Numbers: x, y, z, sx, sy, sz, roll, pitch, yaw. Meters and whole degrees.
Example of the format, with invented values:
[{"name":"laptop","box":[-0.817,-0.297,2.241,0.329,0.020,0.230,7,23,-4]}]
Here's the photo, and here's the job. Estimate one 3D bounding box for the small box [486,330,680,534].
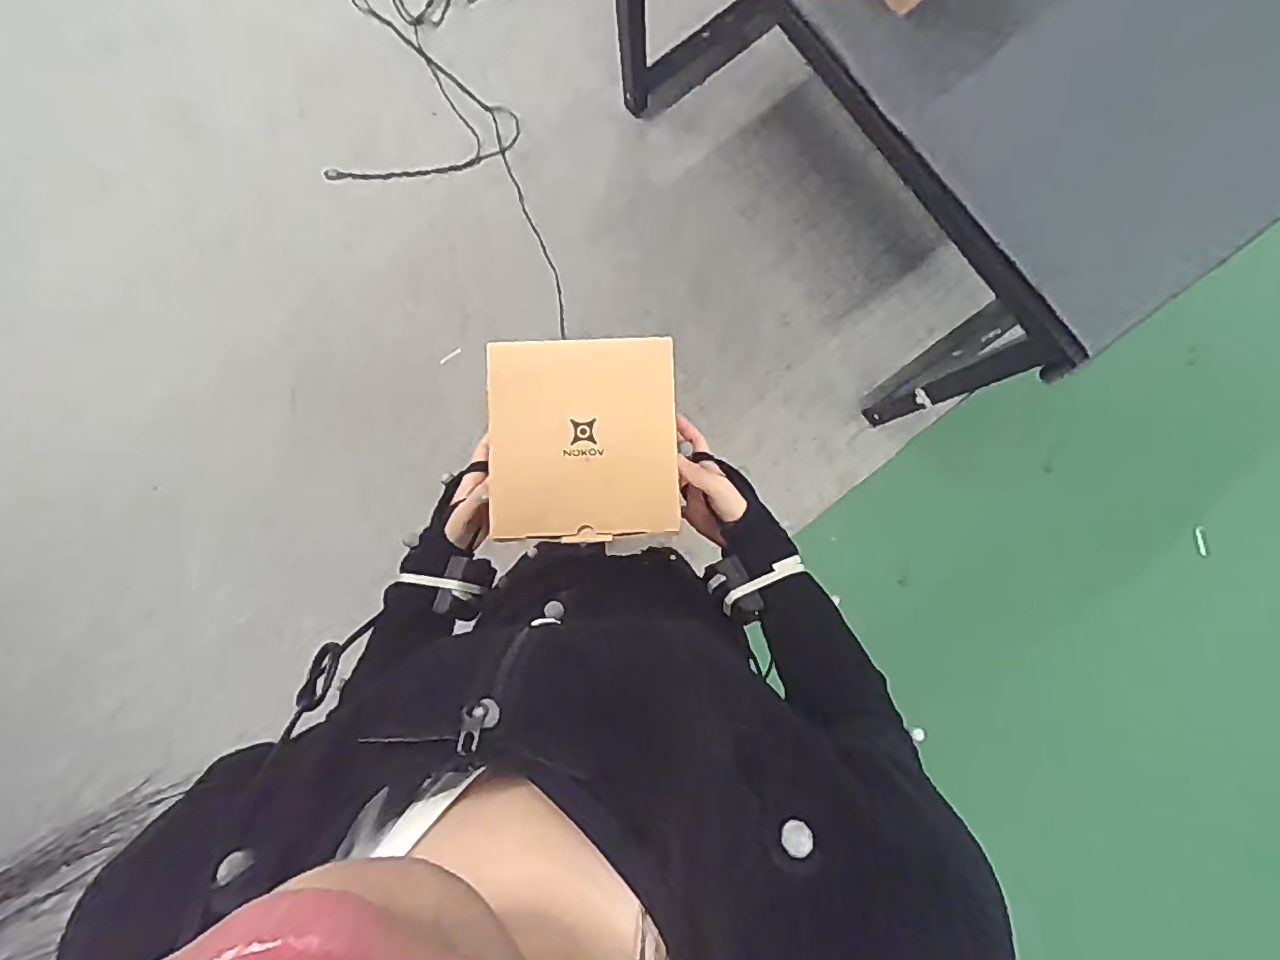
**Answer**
[{"name":"small box","box":[-0.053,-0.036,0.542,0.168,0.176,0.179,-2,86,-2]}]
